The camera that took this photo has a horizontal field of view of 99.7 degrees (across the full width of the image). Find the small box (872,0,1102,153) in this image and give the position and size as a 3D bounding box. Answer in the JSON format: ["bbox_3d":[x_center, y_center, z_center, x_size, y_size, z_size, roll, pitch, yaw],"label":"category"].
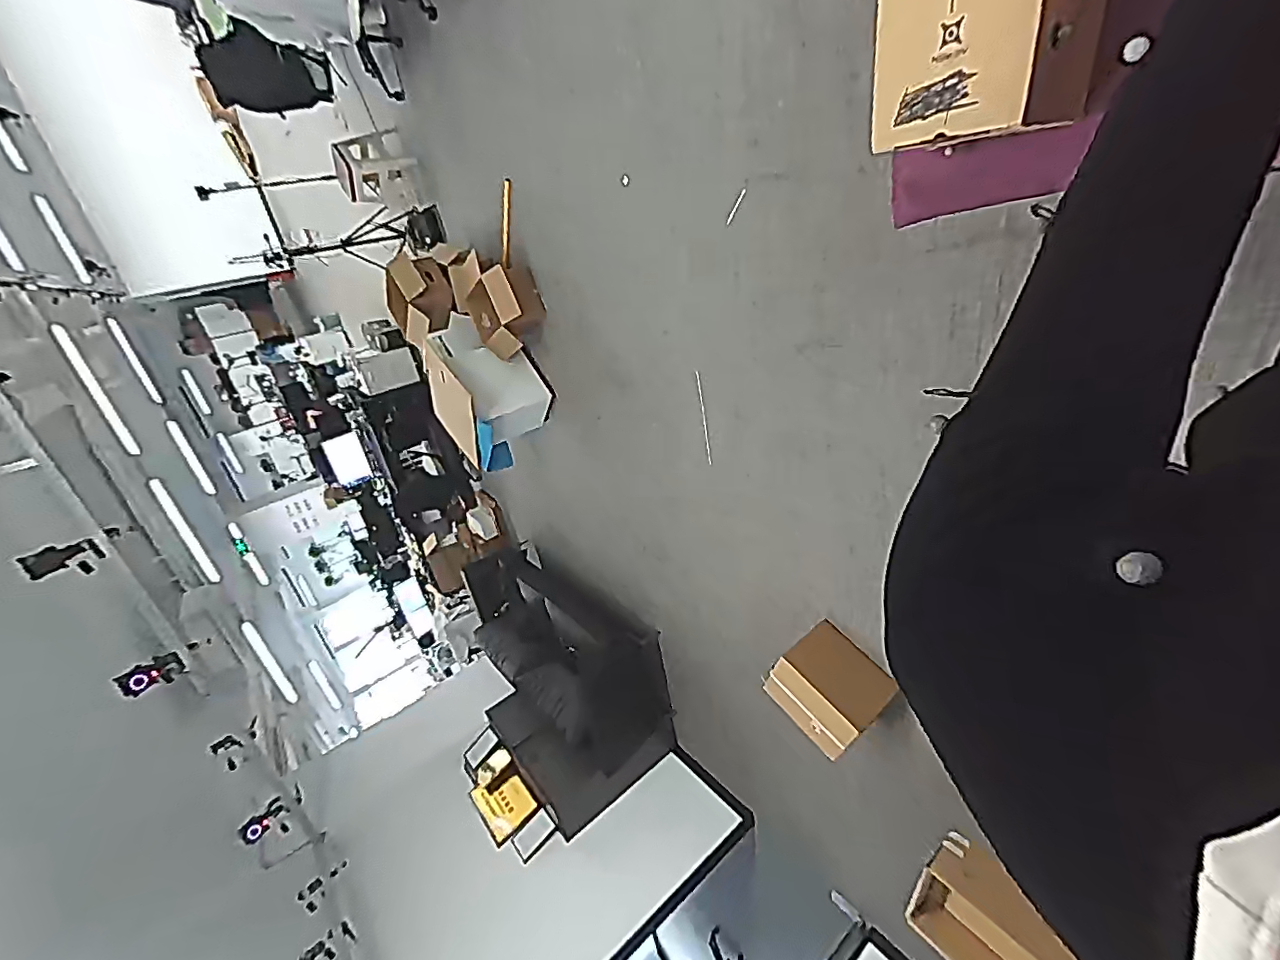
[{"bbox_3d":[0.384,-0.482,0.602,0.168,0.176,0.179,24,131,47],"label":"small box"}]

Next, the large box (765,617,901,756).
[{"bbox_3d":[0.826,0.886,2.354,0.408,0.320,0.320,42,145,30],"label":"large box"}]
